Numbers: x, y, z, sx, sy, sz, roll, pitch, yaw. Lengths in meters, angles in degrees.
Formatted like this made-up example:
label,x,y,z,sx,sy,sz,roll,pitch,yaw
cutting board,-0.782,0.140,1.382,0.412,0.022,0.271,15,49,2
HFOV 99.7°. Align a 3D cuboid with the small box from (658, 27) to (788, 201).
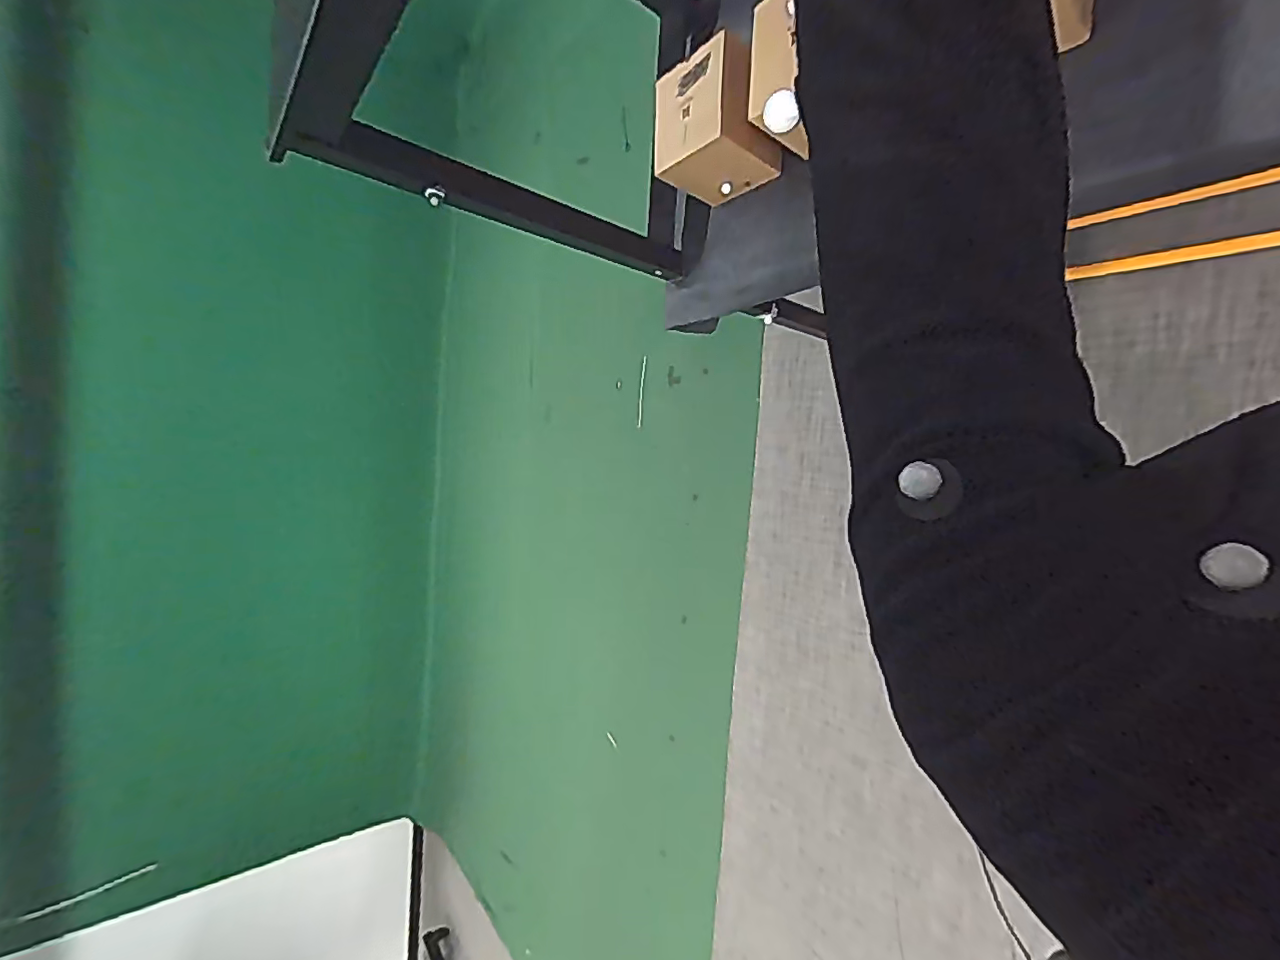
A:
label,x,y,z,sx,sy,sz,roll,pitch,yaw
small box,0.153,-0.648,0.984,0.168,0.176,0.179,3,91,51
